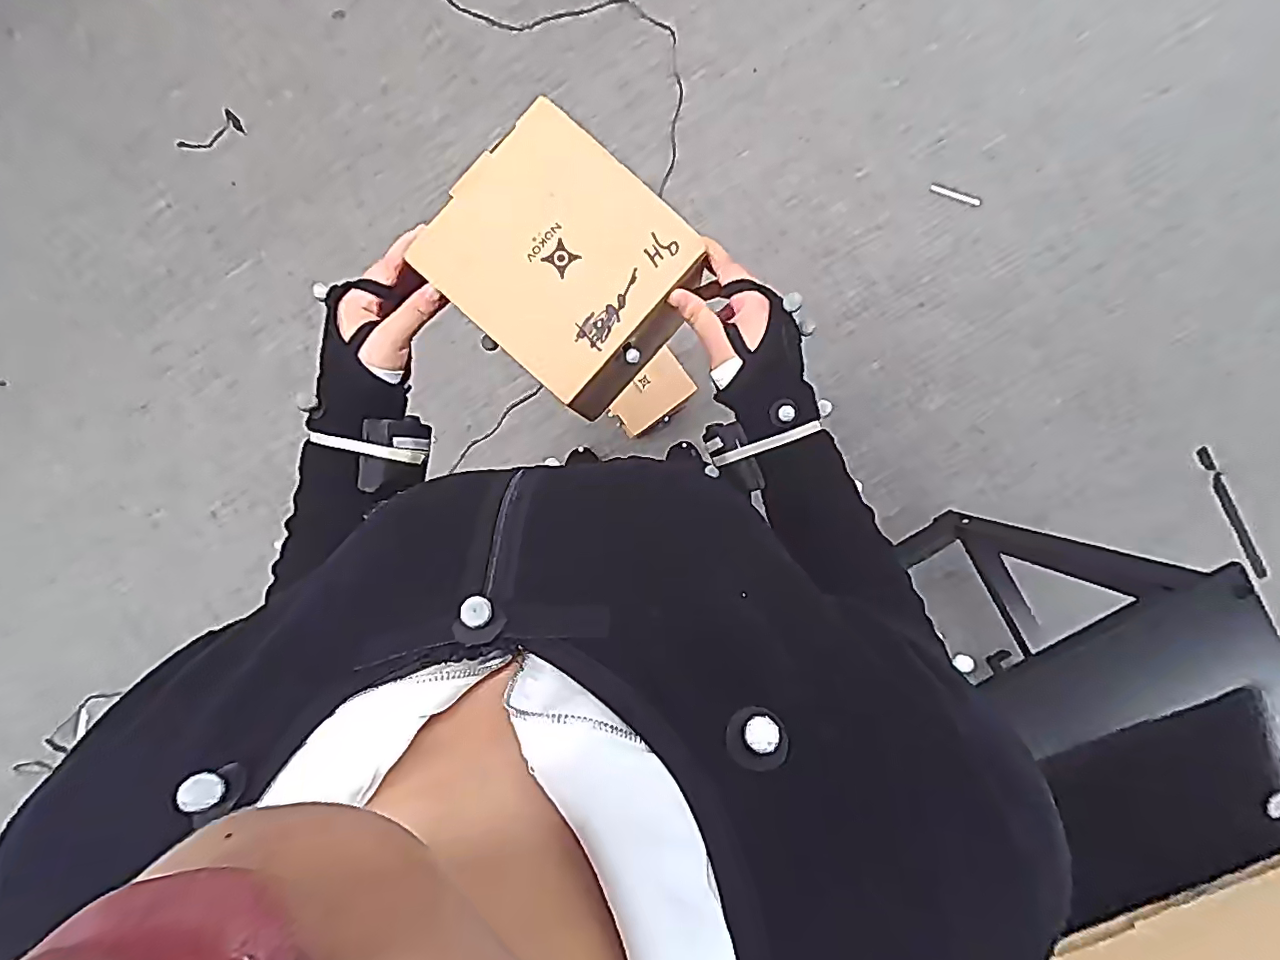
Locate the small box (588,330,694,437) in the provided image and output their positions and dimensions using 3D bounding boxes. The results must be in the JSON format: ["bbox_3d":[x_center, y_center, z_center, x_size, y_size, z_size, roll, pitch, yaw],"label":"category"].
[{"bbox_3d":[0.004,-0.211,1.238,0.179,0.176,0.168,-37,93,2],"label":"small box"}]
